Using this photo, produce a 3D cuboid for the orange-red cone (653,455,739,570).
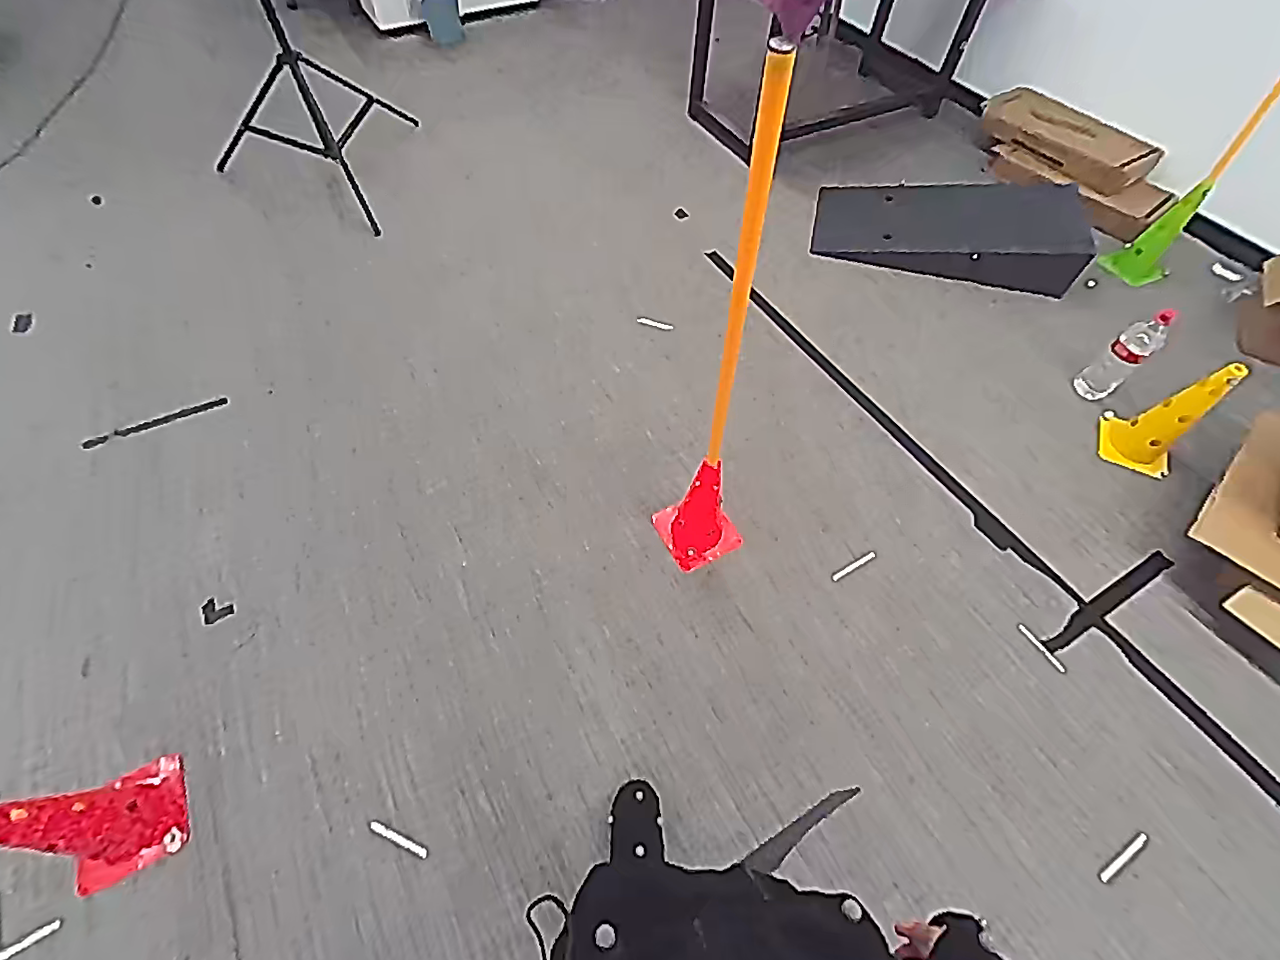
[{"bbox_3d":[0.161,0.049,1.375,0.199,0.360,0.198,-22,62,-16],"label":"orange-red cone"}]
